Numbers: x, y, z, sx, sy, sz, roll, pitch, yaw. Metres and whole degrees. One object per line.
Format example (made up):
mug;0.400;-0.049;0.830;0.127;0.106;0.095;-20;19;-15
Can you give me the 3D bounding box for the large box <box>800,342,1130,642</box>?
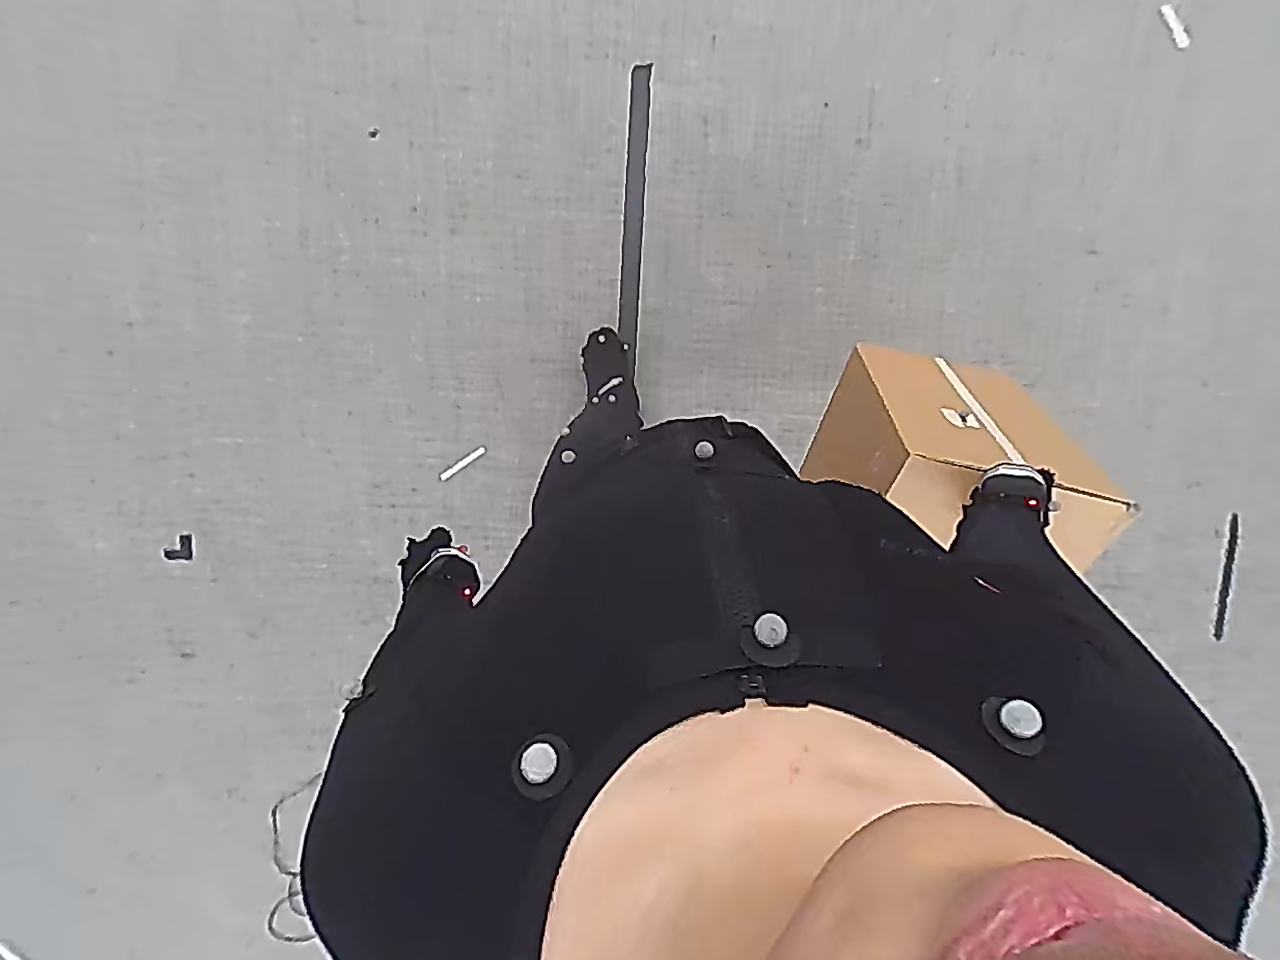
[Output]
large box;0.504;0.005;0.965;0.320;0.408;0.320;14;127;1
